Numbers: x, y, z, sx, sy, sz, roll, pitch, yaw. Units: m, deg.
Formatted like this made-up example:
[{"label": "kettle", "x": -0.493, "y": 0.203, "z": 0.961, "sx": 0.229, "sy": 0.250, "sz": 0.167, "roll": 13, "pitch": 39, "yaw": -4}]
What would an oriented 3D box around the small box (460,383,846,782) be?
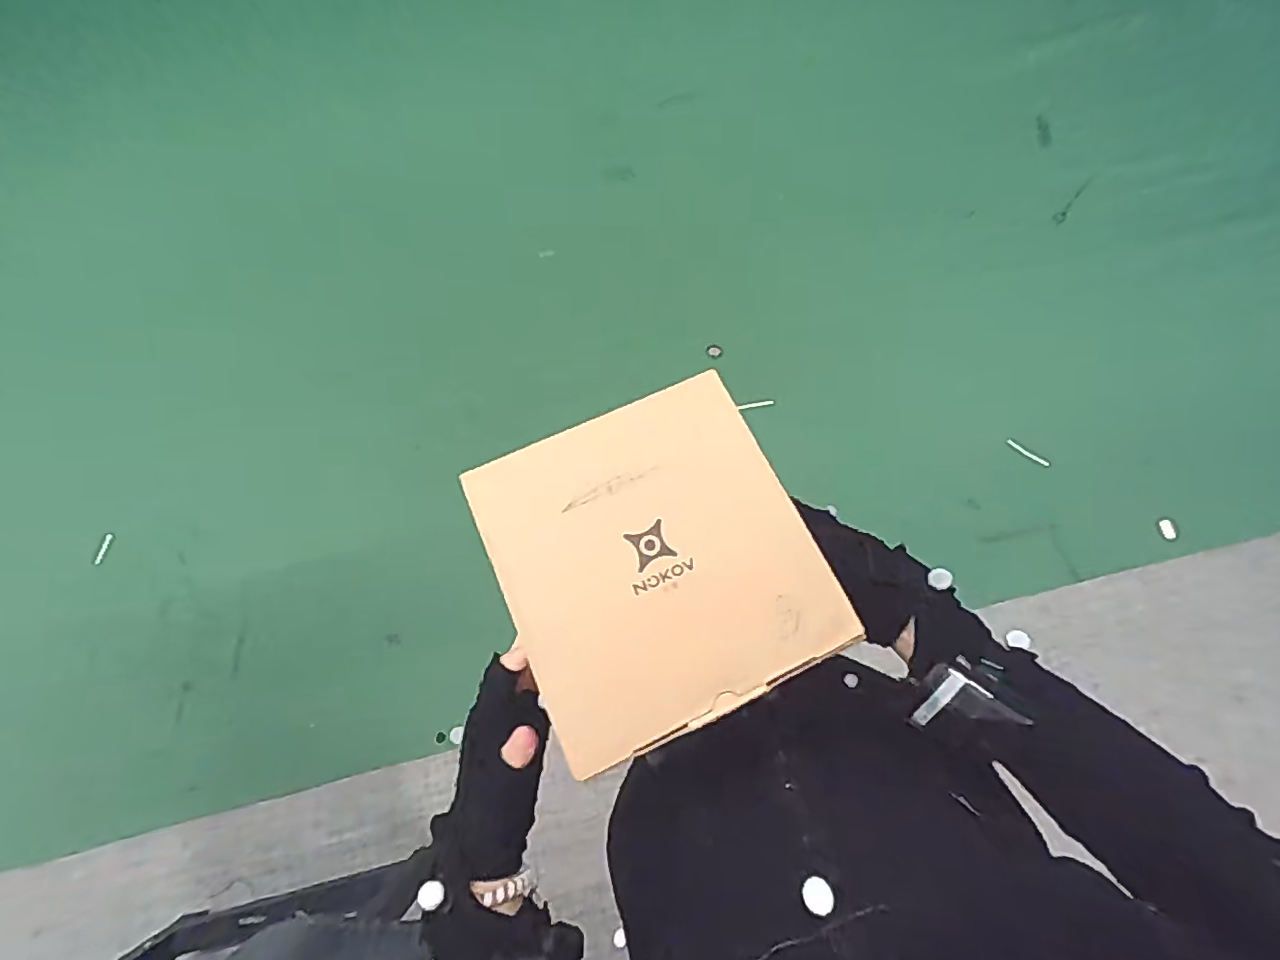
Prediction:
[{"label": "small box", "x": 0.004, "y": 0.069, "z": 0.376, "sx": 0.168, "sy": 0.176, "sz": 0.179, "roll": -24, "pitch": 73, "yaw": -8}]
